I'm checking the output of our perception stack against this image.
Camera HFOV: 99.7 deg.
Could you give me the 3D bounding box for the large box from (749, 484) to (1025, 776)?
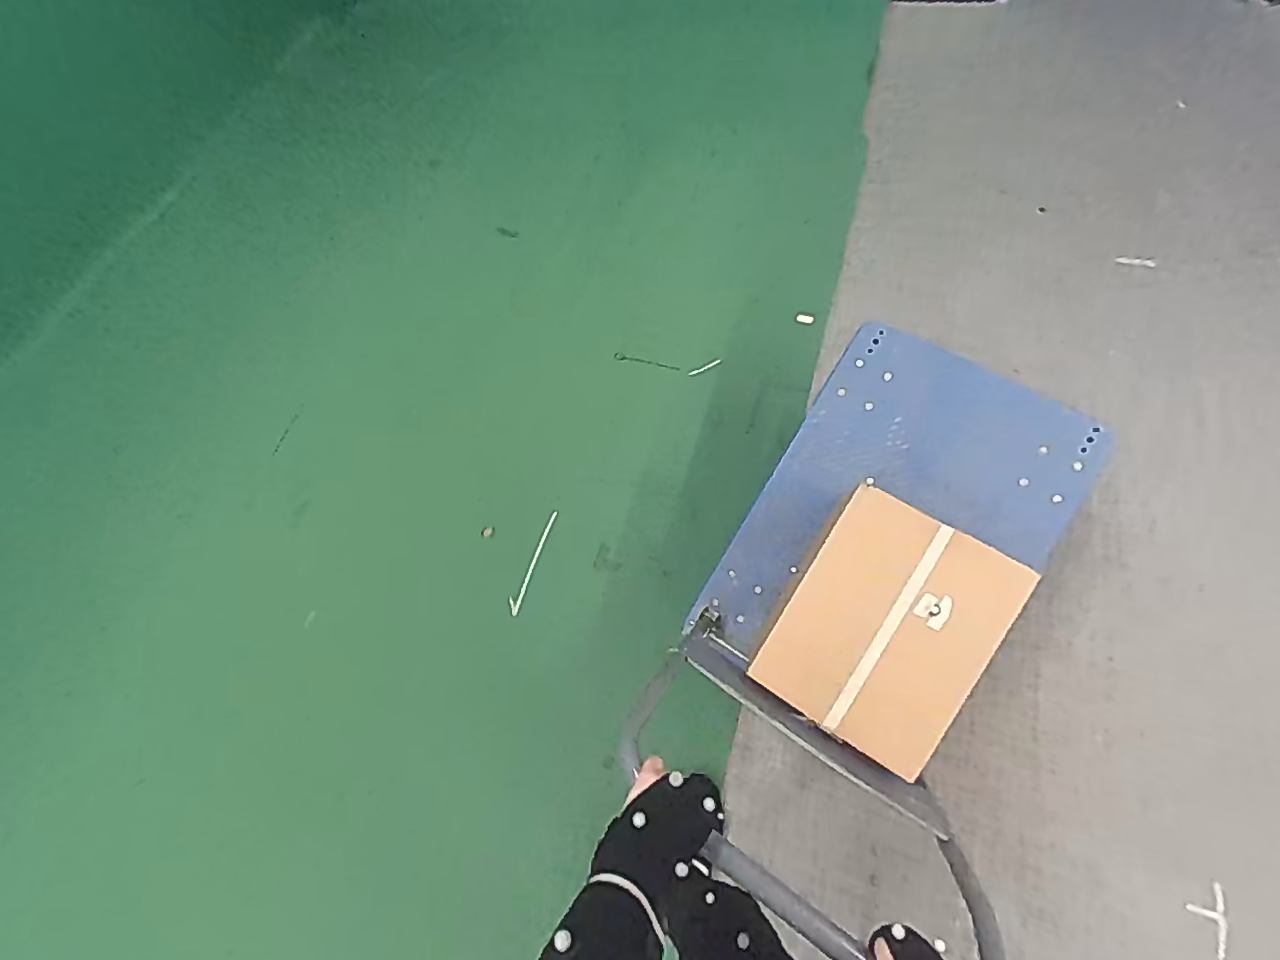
[{"bbox_3d":[0.451,0.270,1.076,0.320,0.320,0.408,30,90,15],"label":"large box"}]
